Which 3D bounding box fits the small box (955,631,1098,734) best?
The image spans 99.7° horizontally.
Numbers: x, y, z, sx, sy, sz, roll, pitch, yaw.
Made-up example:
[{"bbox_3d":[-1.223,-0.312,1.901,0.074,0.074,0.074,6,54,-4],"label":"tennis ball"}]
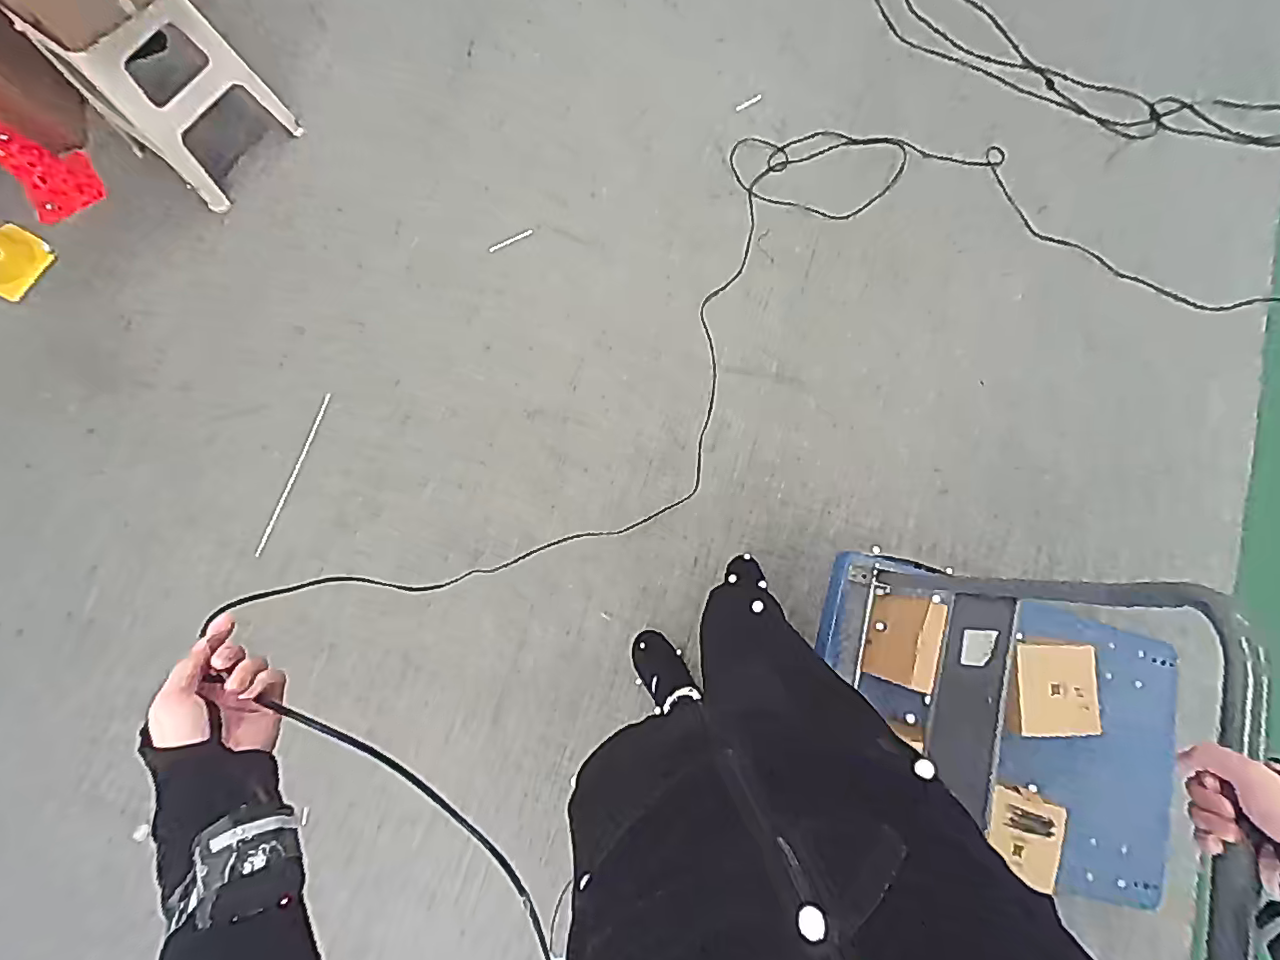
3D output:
[{"bbox_3d":[0.767,0.402,1.093,0.179,0.176,0.168,4,82,-10],"label":"small box"}]
